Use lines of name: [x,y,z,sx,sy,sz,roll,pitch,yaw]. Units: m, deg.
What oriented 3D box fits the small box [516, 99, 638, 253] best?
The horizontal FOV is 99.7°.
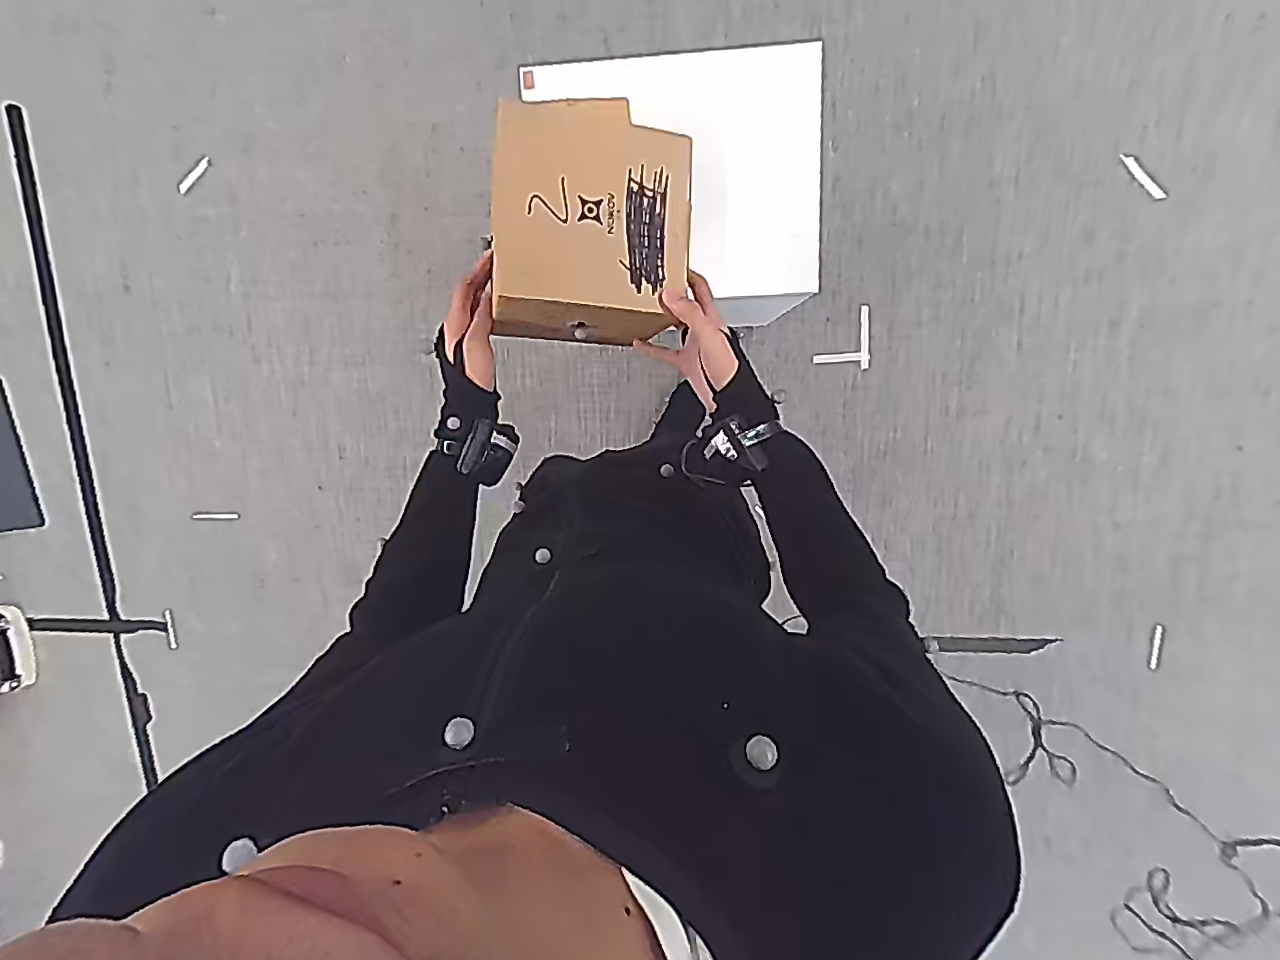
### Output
small box: [-0.092,-0.473,0.870,0.168,0.176,0.179,-1,100,3]
